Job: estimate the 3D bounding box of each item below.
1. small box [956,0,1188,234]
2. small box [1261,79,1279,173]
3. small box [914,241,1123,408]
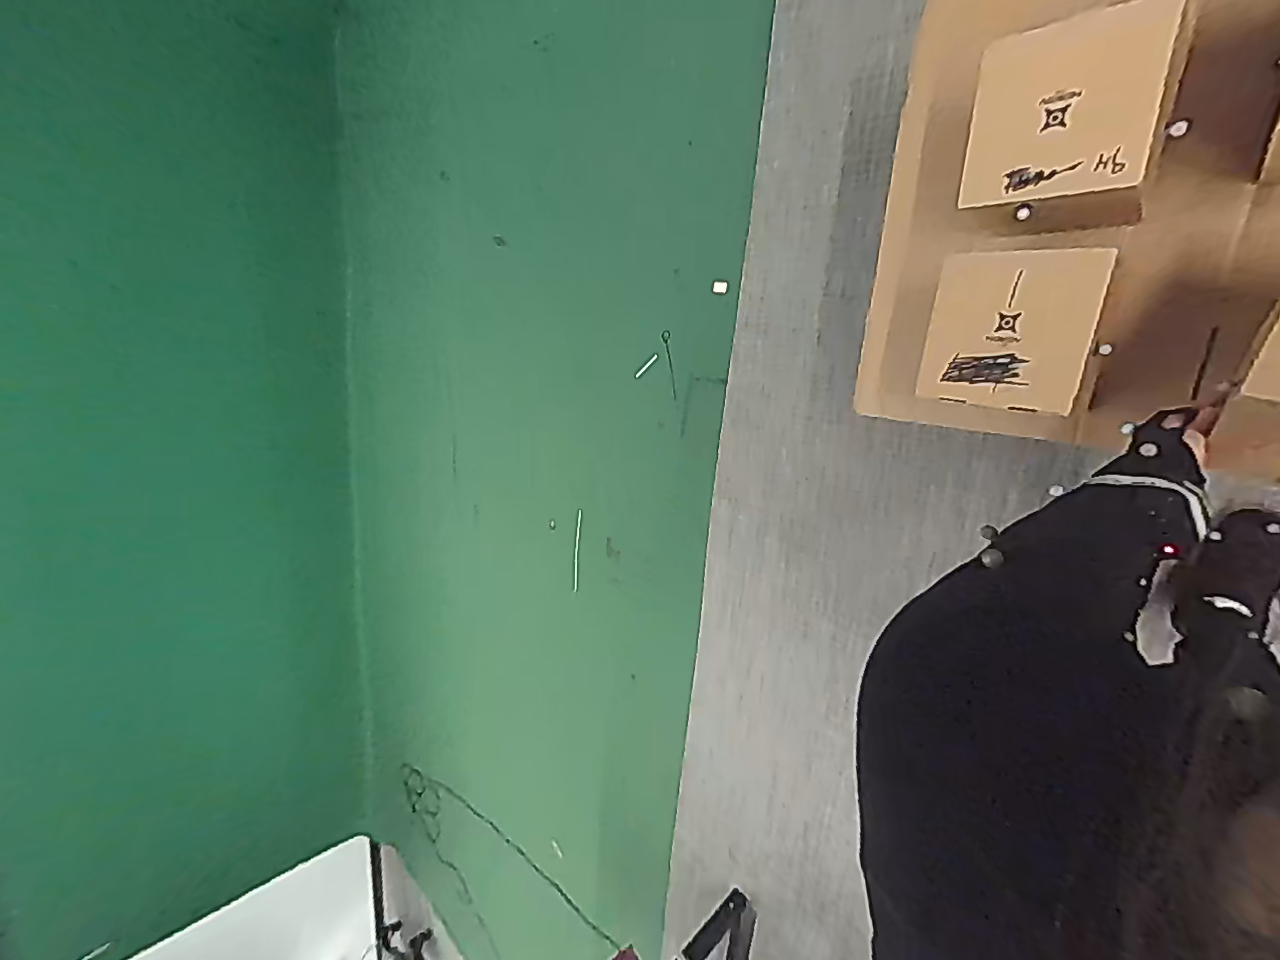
[{"bbox_3d":[0.496,-0.403,0.626,0.168,0.176,0.179,16,107,43],"label":"small box"},{"bbox_3d":[0.679,-0.375,0.453,0.179,0.176,0.168,21,111,42],"label":"small box"},{"bbox_3d":[0.476,-0.190,0.681,0.168,0.176,0.179,19,109,42],"label":"small box"}]
